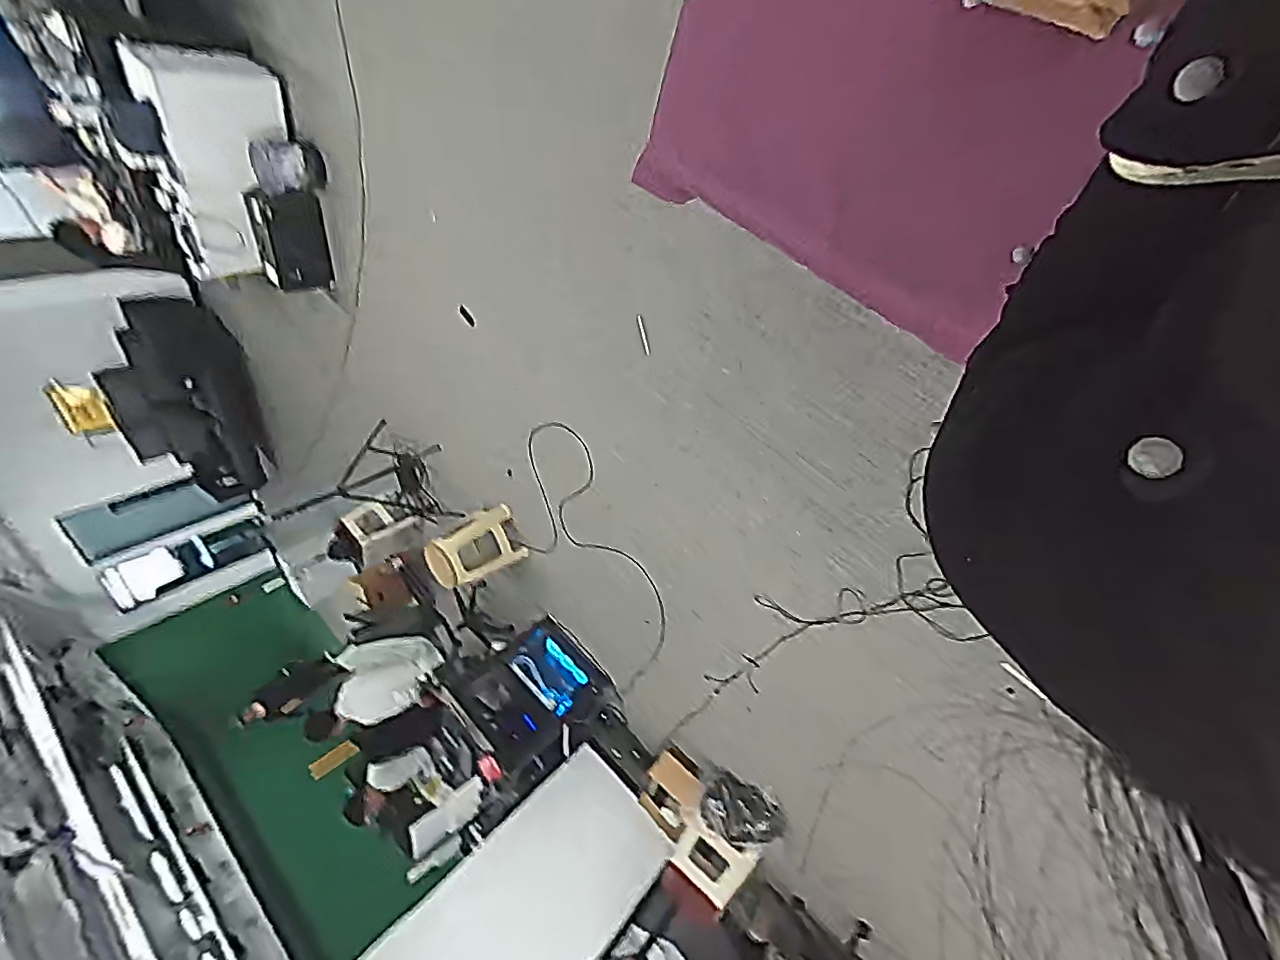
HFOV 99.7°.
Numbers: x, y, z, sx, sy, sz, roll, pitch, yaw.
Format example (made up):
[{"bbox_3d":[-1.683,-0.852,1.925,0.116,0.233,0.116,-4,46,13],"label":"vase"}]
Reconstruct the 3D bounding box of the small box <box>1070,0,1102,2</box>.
[{"bbox_3d":[0.253,-0.409,0.312,0.179,0.176,0.168,40,137,20],"label":"small box"}]

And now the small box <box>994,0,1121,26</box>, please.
[{"bbox_3d":[0.341,-0.490,0.426,0.179,0.176,0.168,41,137,20],"label":"small box"}]
